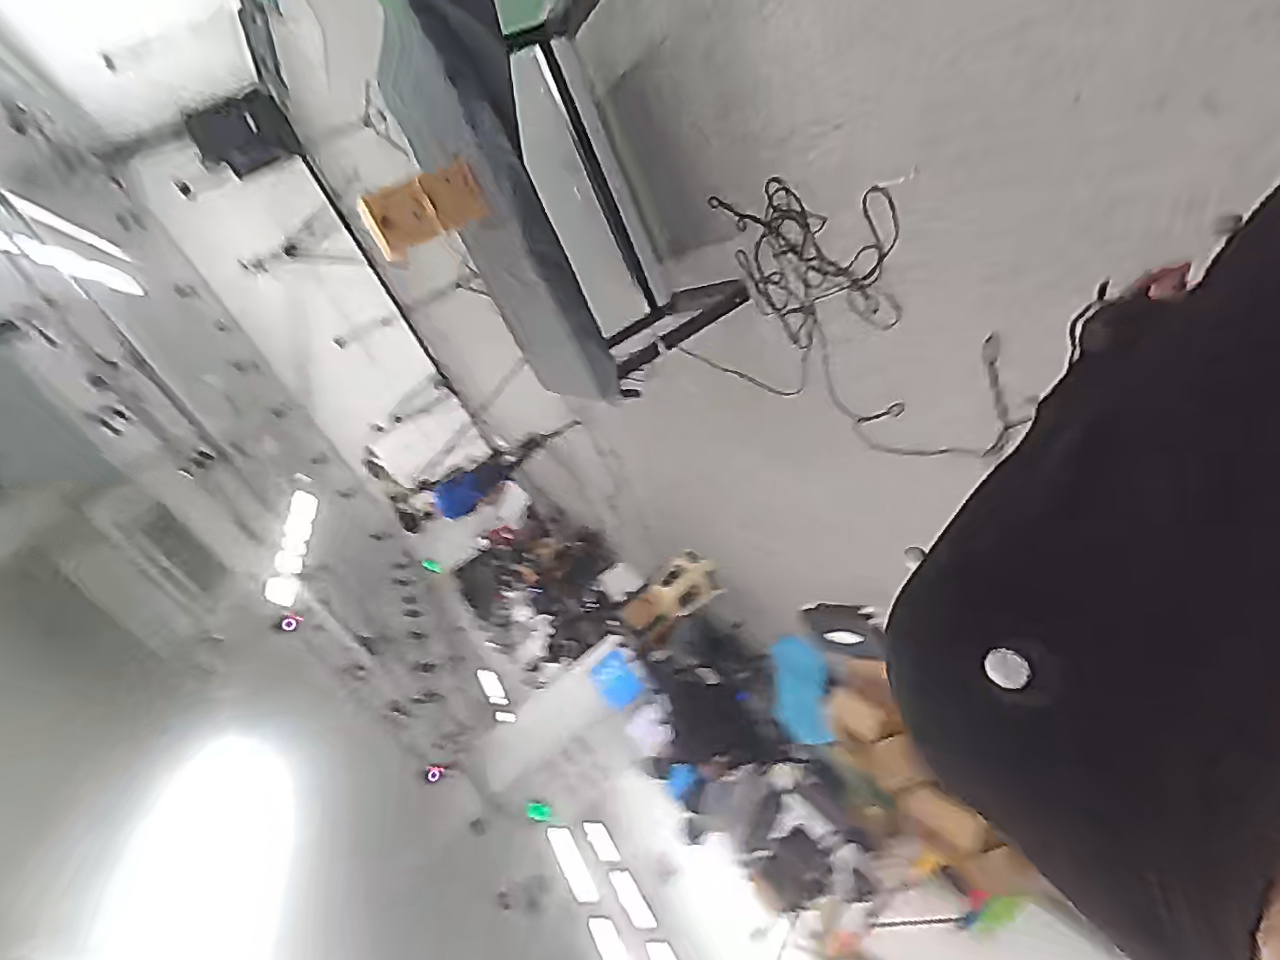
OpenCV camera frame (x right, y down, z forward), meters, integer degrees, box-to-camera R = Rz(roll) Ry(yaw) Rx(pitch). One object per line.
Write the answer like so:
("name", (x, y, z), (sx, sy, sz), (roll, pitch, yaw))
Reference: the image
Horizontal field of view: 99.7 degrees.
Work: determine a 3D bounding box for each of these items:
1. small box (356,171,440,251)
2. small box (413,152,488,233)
("small box", (-0.738, -0.821, 1.655), (0.179, 0.176, 0.168), (26, 145, 55))
("small box", (-0.600, -0.900, 1.693), (0.179, 0.176, 0.168), (29, 147, 57))
